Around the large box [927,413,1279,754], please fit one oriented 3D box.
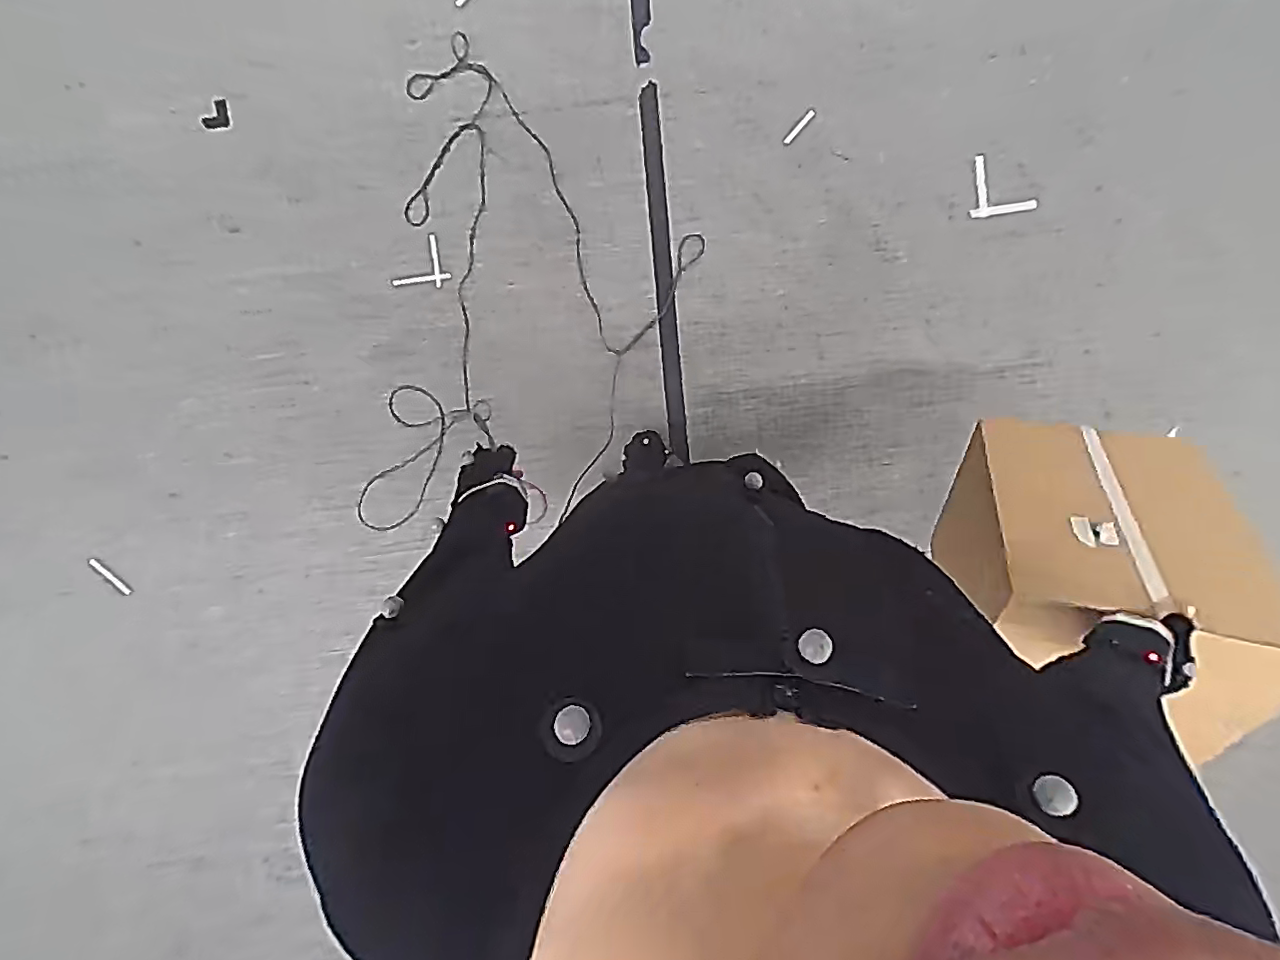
[{"bbox_3d":[0.684,0.145,0.874,0.320,0.408,0.320,9,134,17],"label":"large box"}]
